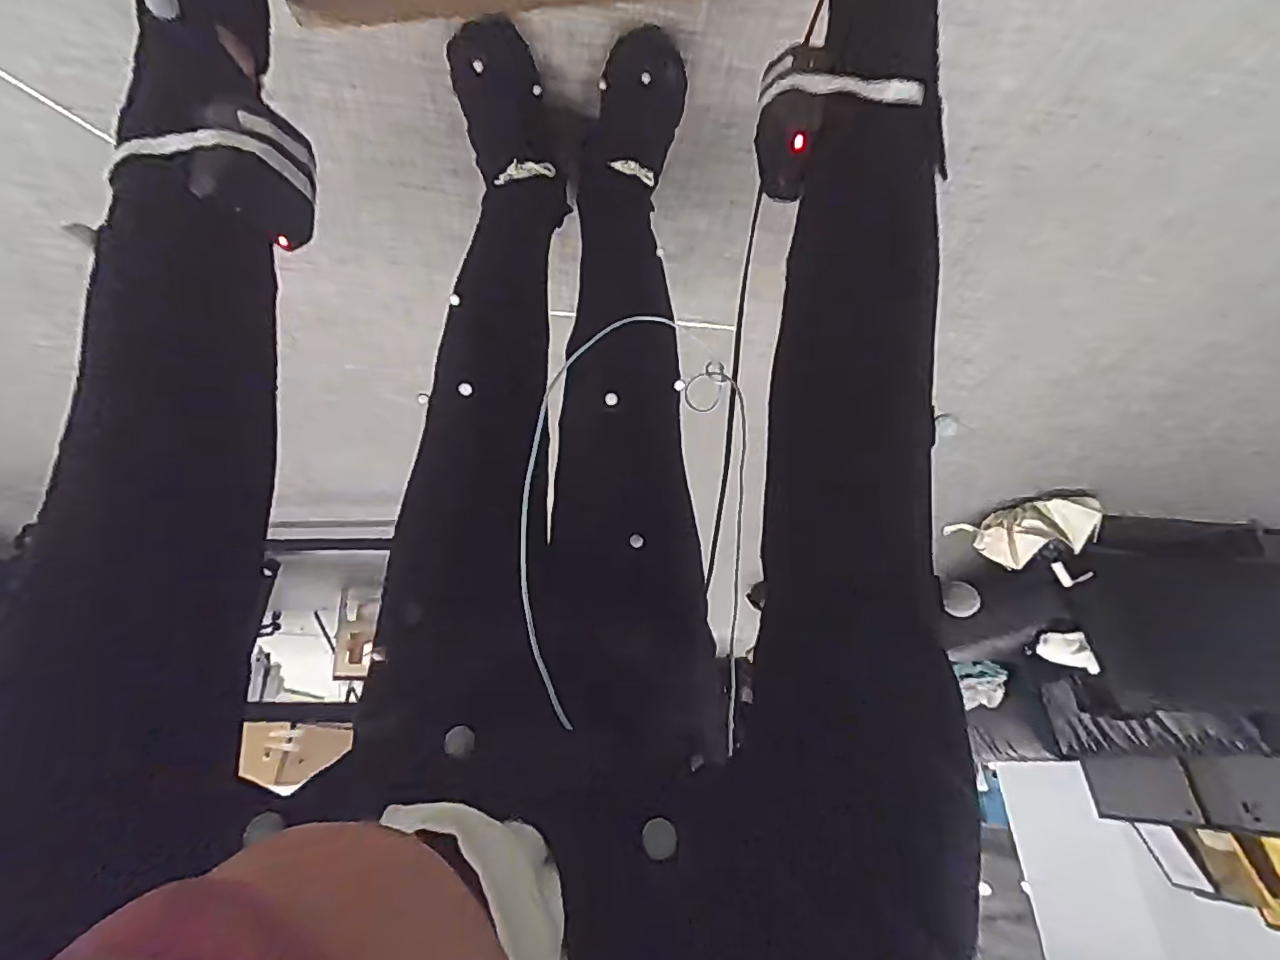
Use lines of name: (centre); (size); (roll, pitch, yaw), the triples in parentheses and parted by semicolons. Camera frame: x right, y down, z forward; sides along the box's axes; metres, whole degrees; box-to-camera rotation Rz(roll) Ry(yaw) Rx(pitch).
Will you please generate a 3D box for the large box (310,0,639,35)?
large box: (-0.058, -0.555, 0.350); (0.408, 0.320, 0.320); (-3, 148, 3)
